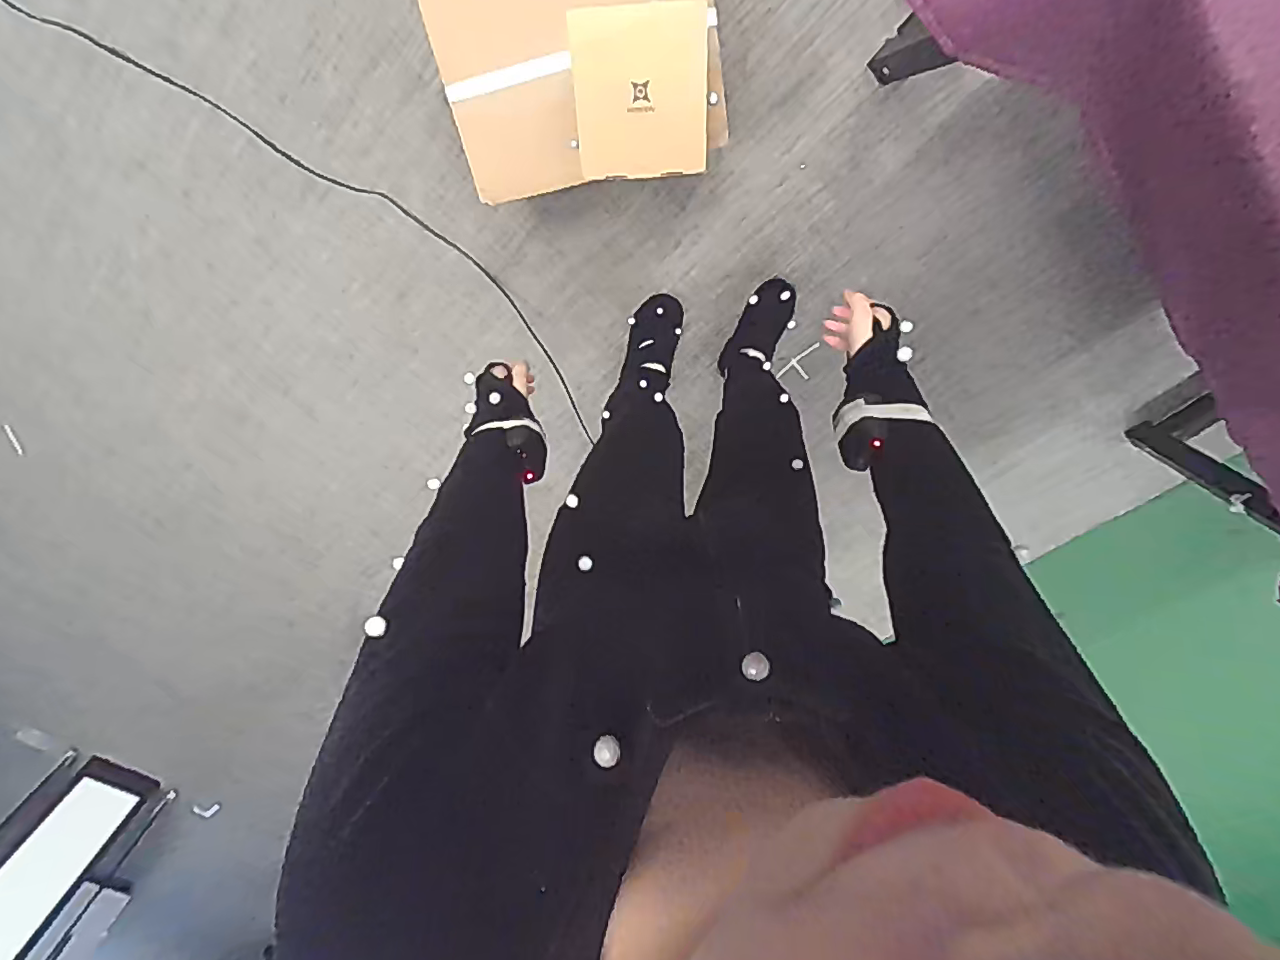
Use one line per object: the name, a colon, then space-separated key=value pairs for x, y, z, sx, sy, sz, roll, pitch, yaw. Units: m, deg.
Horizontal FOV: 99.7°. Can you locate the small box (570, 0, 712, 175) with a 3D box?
small box: x=0.005 y=-0.523 z=0.726 sx=0.168 sy=0.176 sz=0.179 roll=-2 pitch=127 yaw=3
